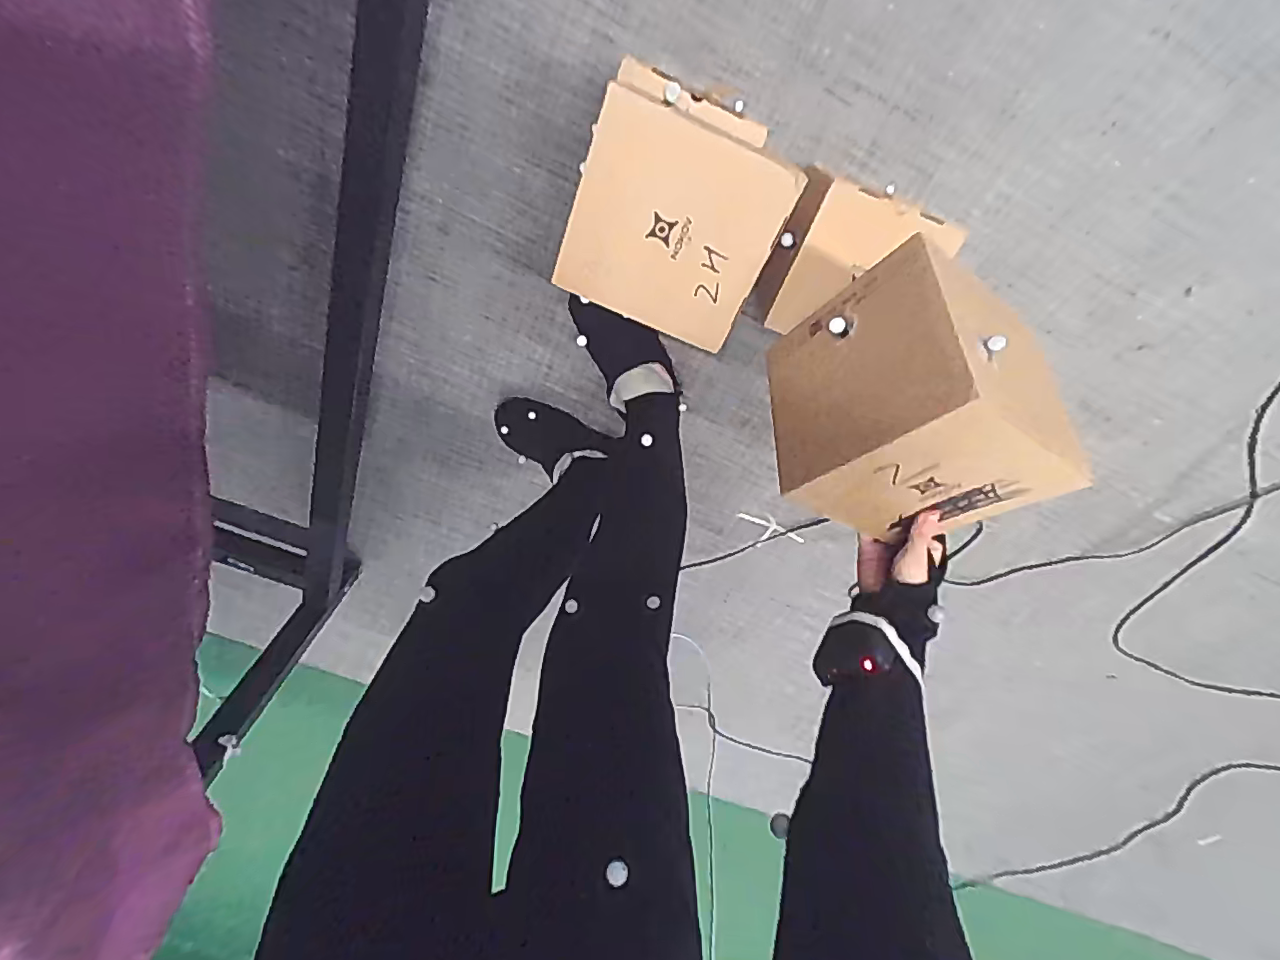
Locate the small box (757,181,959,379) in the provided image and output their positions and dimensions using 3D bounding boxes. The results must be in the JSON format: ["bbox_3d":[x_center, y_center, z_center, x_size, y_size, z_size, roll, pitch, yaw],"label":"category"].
[{"bbox_3d":[0.264,-0.265,0.708,0.168,0.176,0.179,19,124,-6],"label":"small box"}]
